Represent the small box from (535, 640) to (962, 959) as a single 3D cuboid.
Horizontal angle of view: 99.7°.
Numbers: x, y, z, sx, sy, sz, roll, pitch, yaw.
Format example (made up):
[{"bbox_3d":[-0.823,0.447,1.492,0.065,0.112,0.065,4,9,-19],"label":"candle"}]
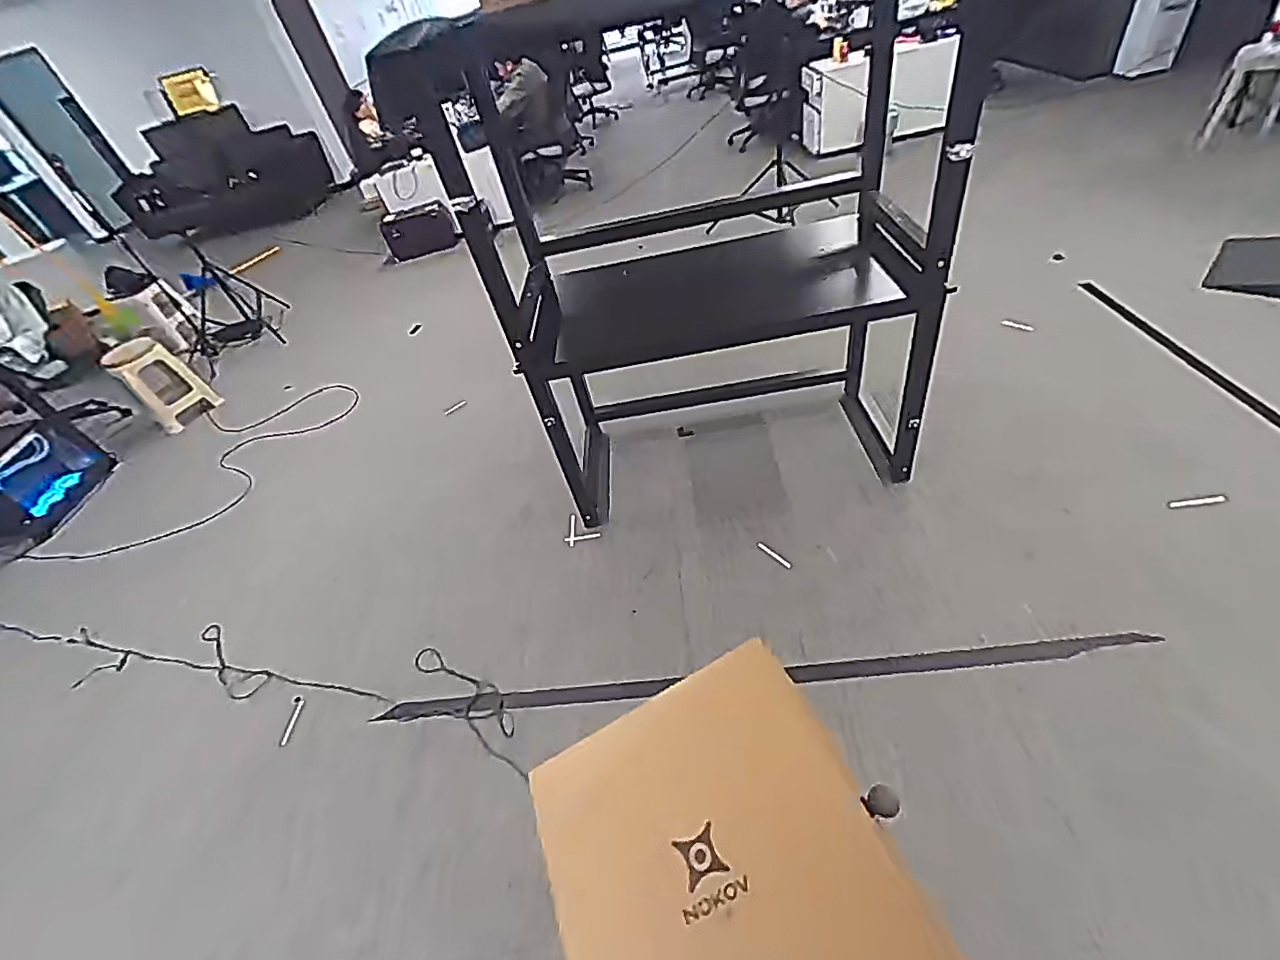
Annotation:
[{"bbox_3d":[0.065,0.235,0.326,0.168,0.176,0.179,-32,47,3],"label":"small box"}]
